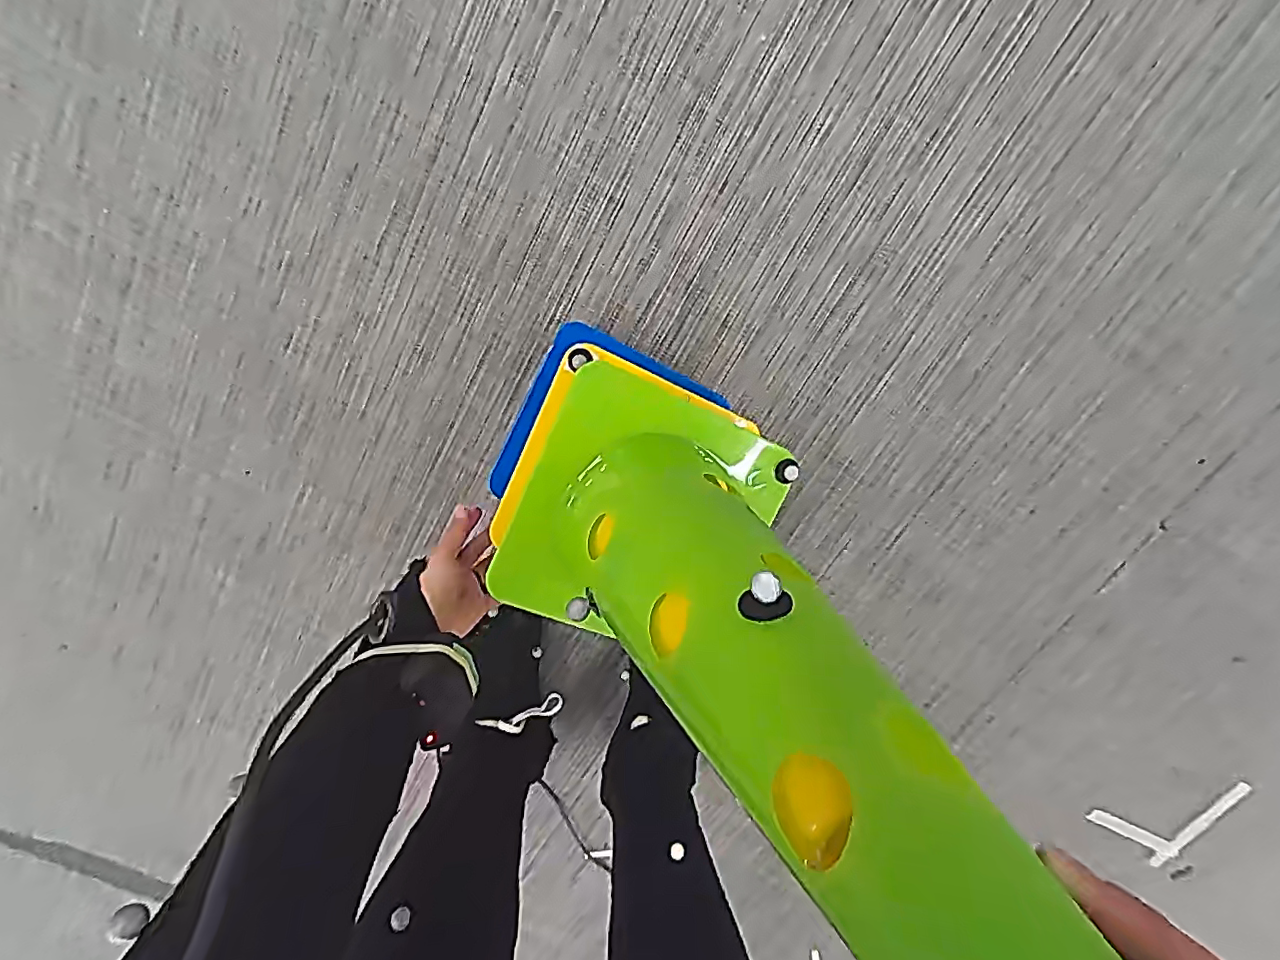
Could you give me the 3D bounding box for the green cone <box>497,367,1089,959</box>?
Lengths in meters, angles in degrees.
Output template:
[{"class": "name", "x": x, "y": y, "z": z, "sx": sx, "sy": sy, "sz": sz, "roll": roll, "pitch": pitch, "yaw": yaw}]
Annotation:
[{"class": "green cone", "x": 0.051, "y": 0.078, "z": 0.258, "sx": 0.200, "sy": 0.368, "sz": 0.202, "roll": 22, "pitch": 98, "yaw": -17}]
